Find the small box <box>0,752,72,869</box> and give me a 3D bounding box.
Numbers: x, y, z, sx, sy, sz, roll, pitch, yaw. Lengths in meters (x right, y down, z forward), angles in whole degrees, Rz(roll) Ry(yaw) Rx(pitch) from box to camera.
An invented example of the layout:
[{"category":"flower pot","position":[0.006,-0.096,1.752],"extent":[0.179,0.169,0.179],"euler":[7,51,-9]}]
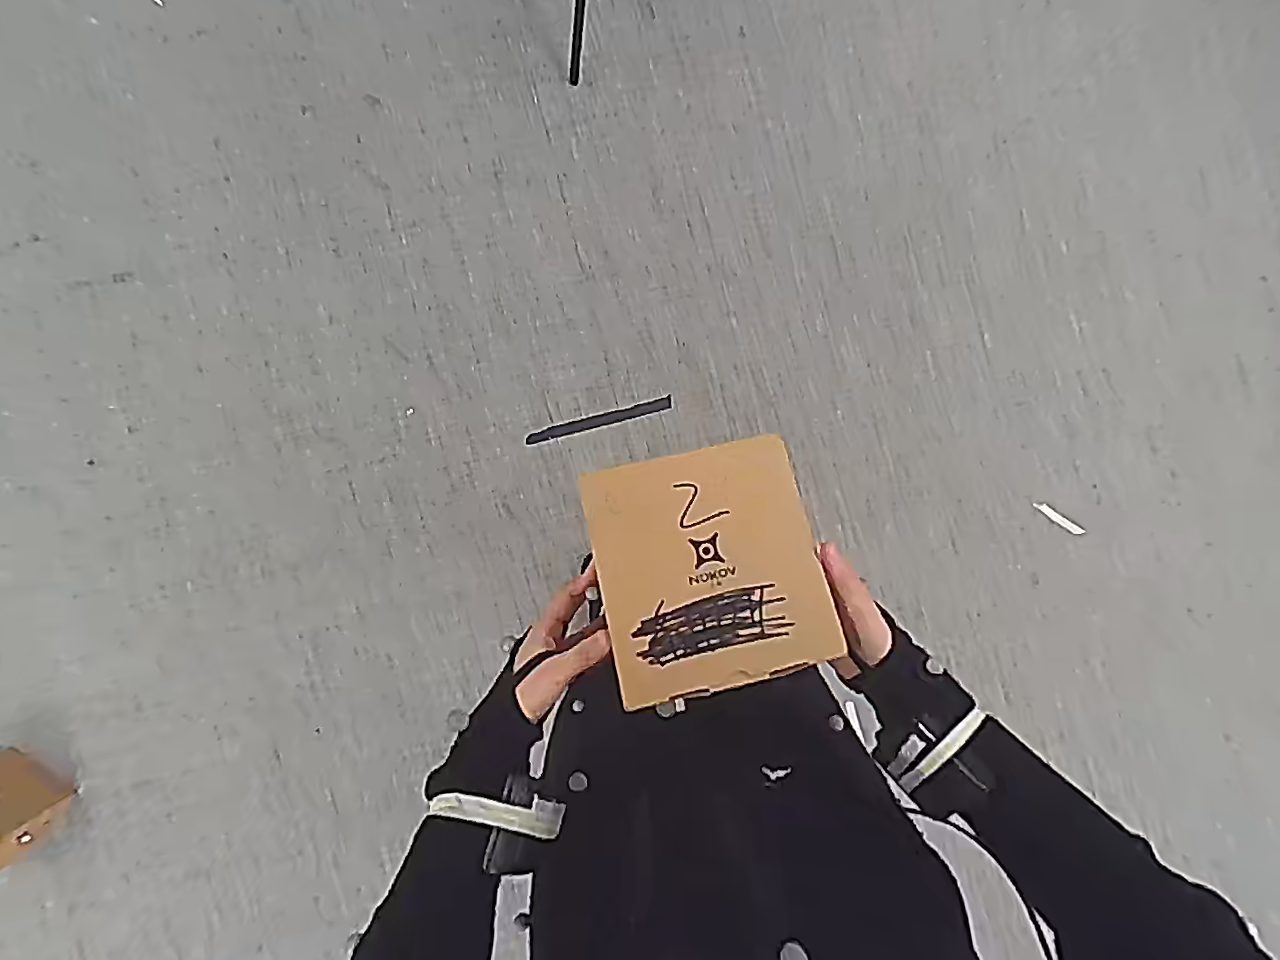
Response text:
[{"category":"small box","position":[-1.323,0.685,1.077],"extent":[0.179,0.176,0.168],"euler":[38,84,-4]}]
